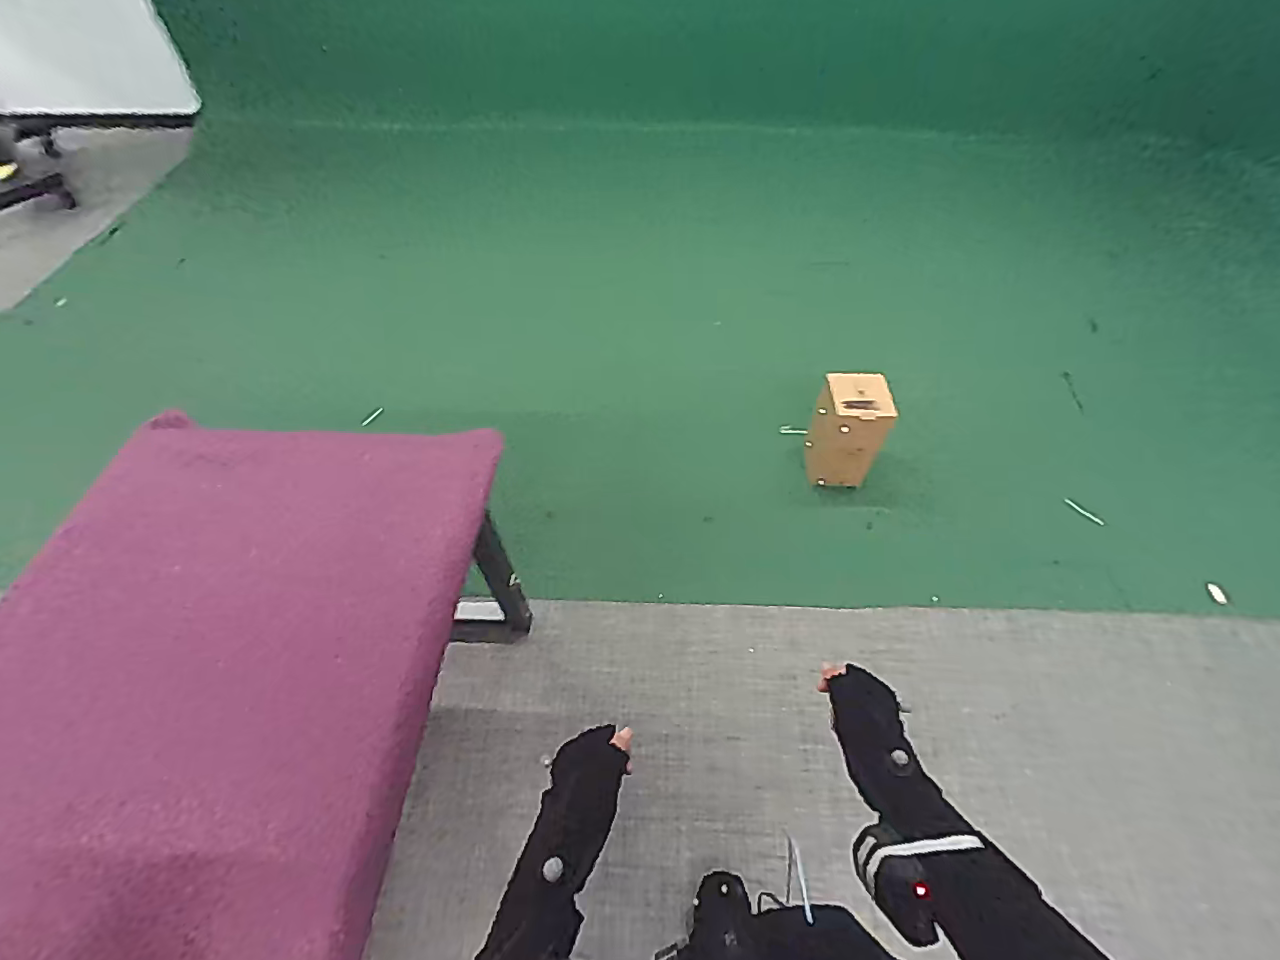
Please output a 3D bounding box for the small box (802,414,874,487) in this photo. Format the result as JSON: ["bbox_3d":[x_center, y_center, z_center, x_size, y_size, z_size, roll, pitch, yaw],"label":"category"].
[{"bbox_3d":[0.637,-0.093,1.756,0.168,0.176,0.179,2,53,1],"label":"small box"}]
